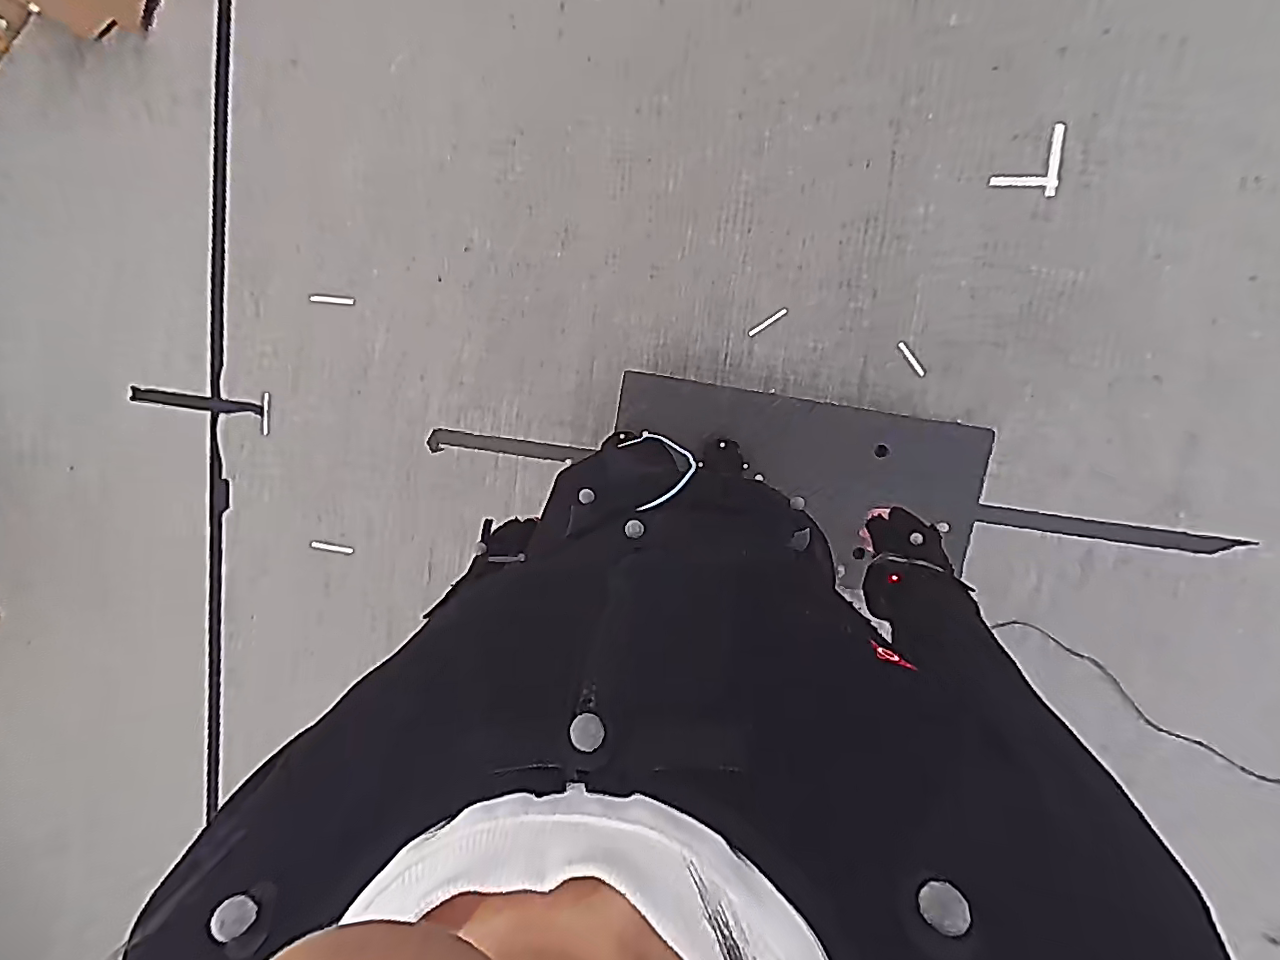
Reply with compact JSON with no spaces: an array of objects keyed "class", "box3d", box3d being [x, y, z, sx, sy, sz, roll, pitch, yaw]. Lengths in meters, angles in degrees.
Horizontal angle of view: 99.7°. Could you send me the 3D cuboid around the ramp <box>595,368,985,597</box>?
[{"class":"ramp","box3d":[0.402,0.015,1.456,0.991,0.206,0.509,8,96,8]}]
